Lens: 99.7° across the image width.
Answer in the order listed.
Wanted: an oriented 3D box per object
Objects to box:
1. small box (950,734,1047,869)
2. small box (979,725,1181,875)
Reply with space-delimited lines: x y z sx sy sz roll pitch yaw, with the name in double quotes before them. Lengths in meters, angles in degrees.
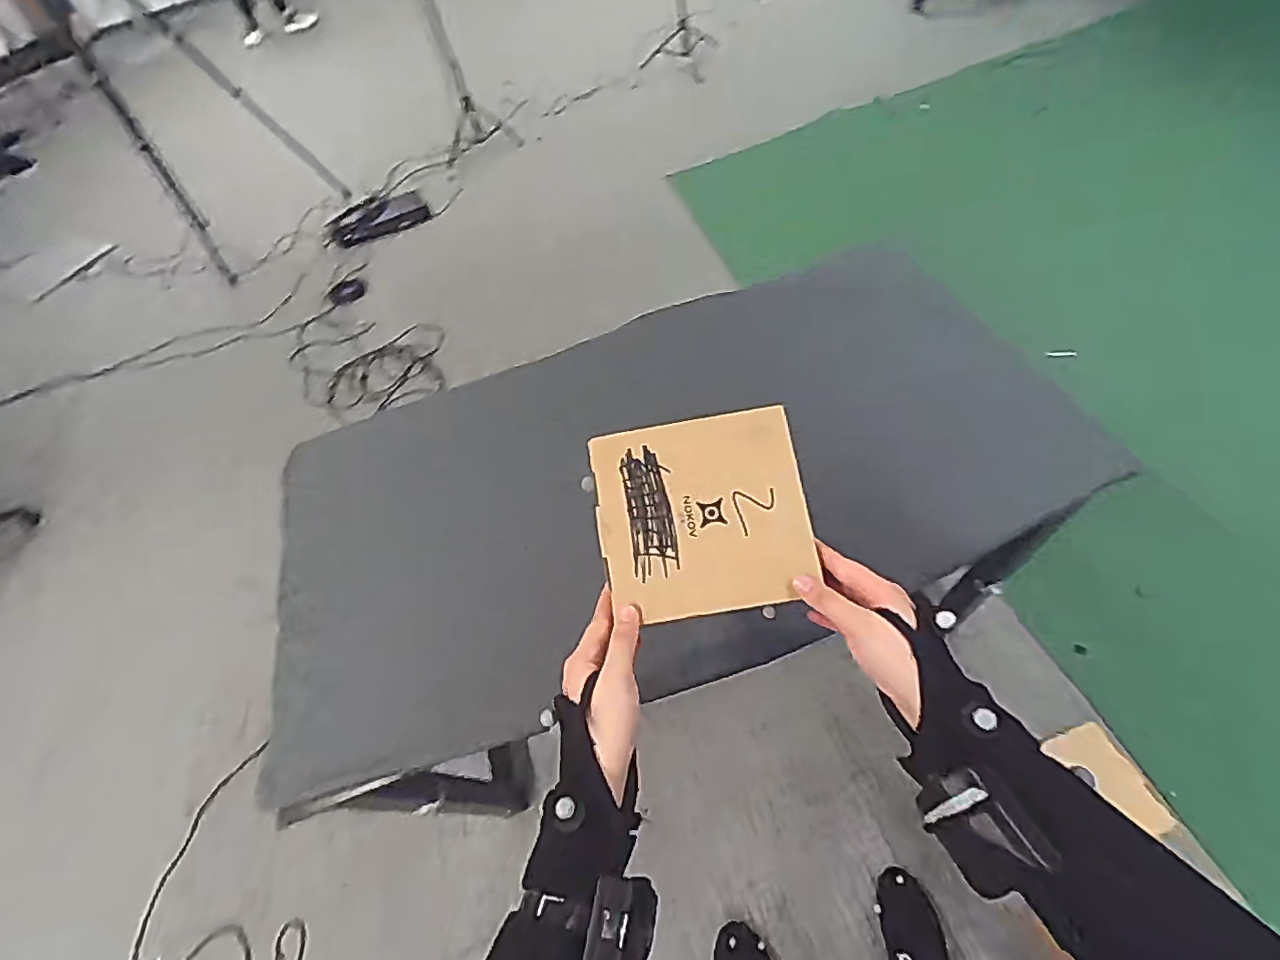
"small box" 0.756 0.630 1.065 0.168 0.176 0.179 -23 55 -4
"small box" 0.732 0.543 0.927 0.179 0.176 0.168 -21 57 -3
